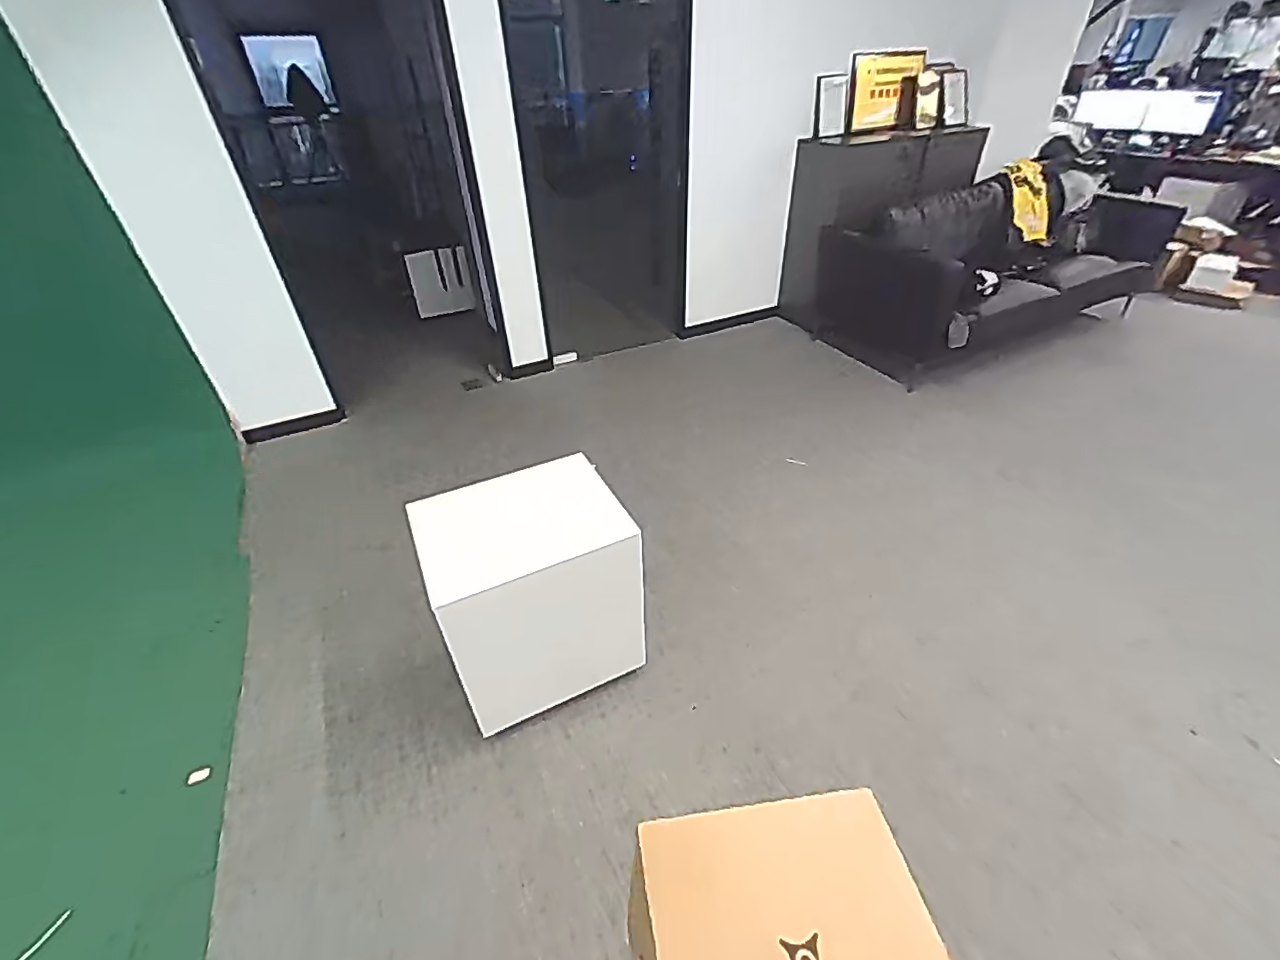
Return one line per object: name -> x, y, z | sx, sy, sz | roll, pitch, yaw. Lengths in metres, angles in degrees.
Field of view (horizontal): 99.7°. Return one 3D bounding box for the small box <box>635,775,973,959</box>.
small box -> 0.091, 0.320, 0.335 | 0.168, 0.176, 0.179 | -3, 36, -9
